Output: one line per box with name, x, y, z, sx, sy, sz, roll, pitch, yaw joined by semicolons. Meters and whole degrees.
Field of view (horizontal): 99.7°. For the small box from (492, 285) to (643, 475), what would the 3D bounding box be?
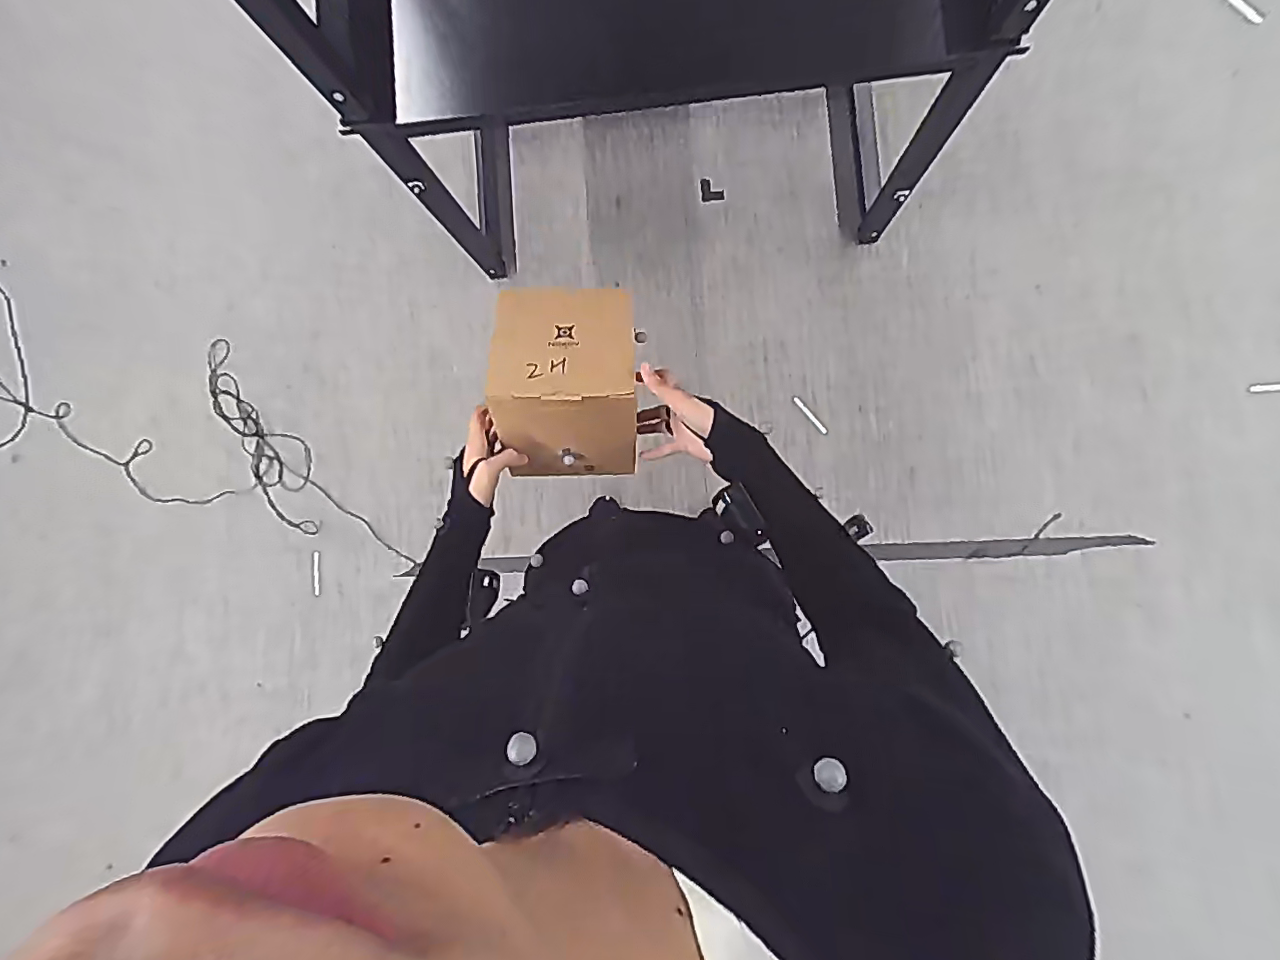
small box;-0.083;-0.124;0.693;0.168;0.176;0.179;-1;60;-2
